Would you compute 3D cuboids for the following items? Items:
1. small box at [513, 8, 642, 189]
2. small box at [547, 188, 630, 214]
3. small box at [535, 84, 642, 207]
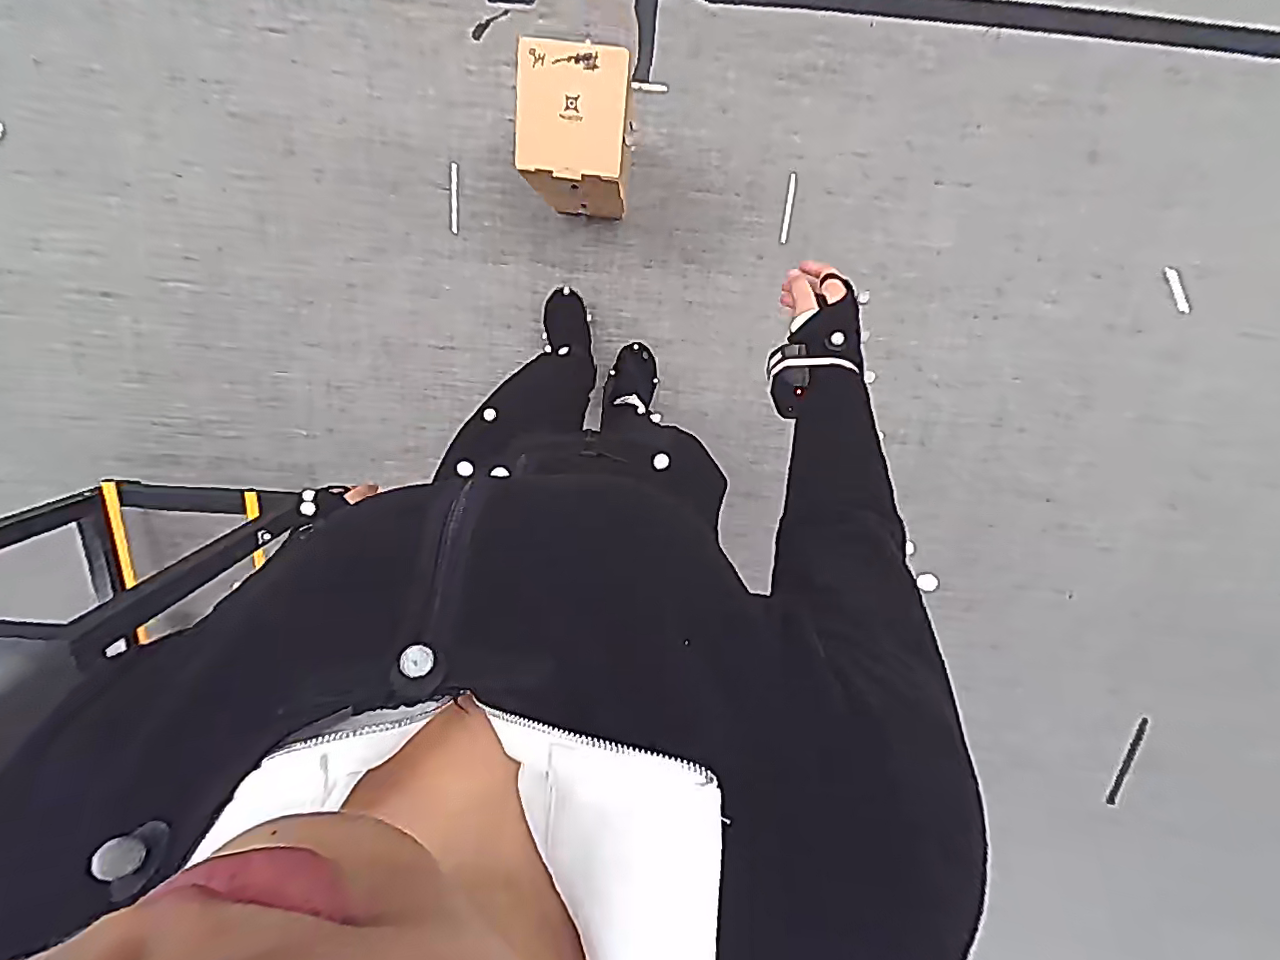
[{"bbox_3d":[-0.087,-0.550,0.807,0.168,0.176,0.179,6,109,-2],"label":"small box"},{"bbox_3d":[-0.096,-0.664,1.116,0.168,0.176,0.179,5,109,-1],"label":"small box"},{"bbox_3d":[-0.088,-0.603,0.962,0.168,0.176,0.179,5,108,-1],"label":"small box"}]
